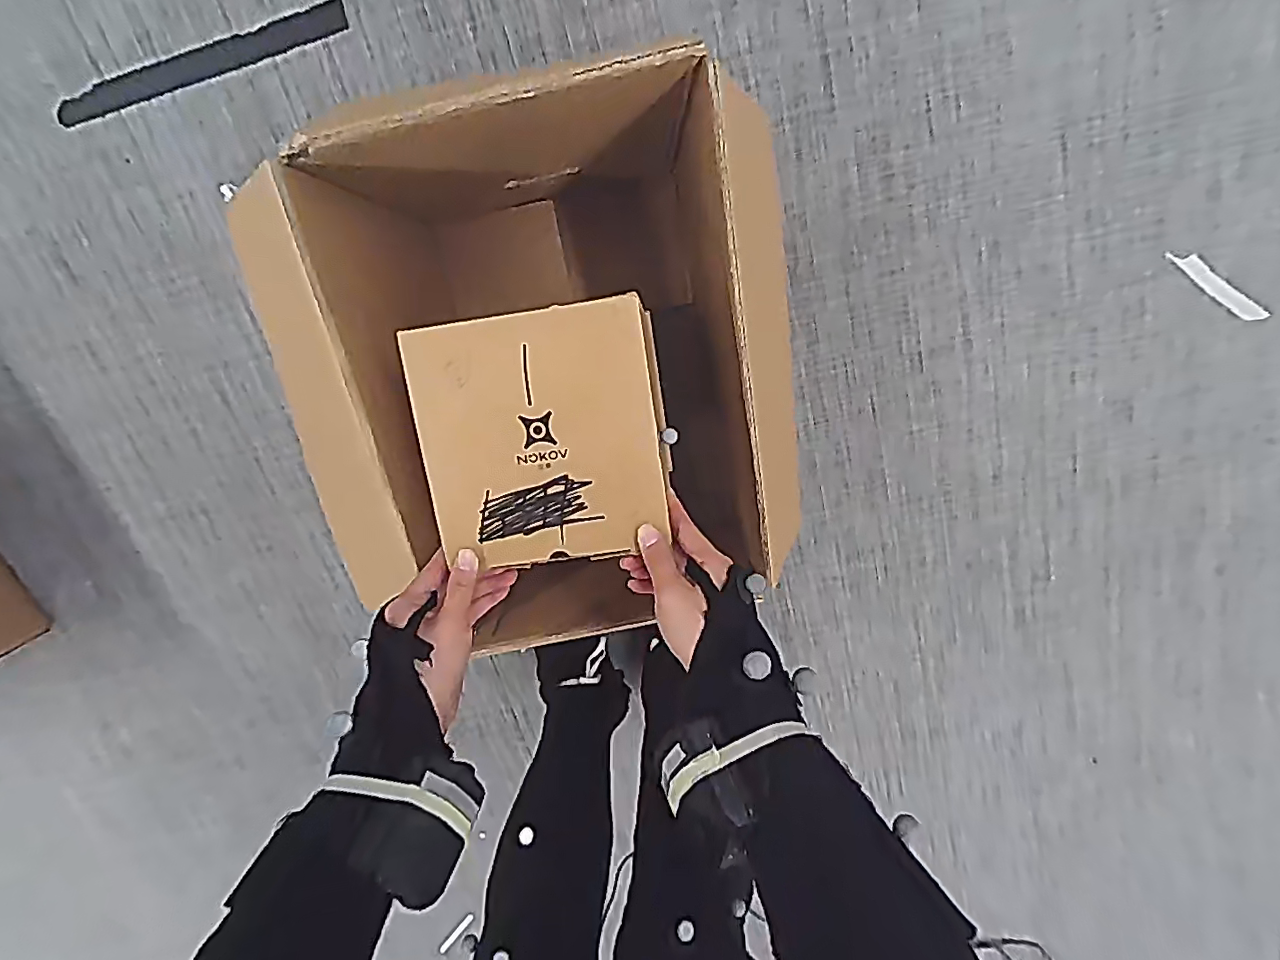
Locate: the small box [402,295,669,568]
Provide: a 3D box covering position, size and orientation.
[{"bbox_3d":[-0.066,-0.043,0.454,0.168,0.176,0.179,-8,99,4],"label":"small box"}]
